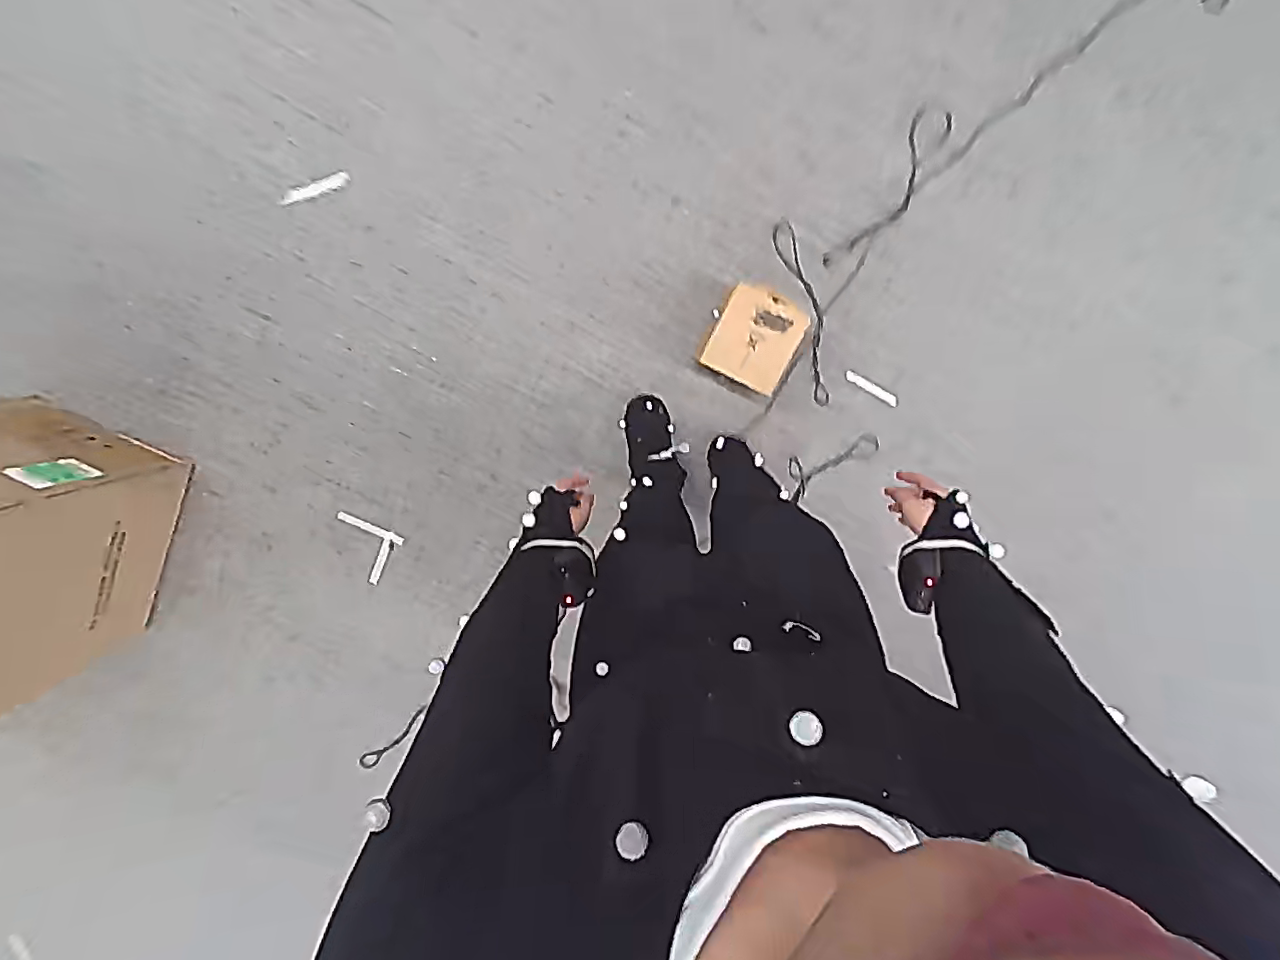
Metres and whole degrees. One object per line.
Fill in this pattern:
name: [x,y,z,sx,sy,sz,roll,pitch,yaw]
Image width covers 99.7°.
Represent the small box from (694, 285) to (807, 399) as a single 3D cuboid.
small box: [0.226,-0.296,1.168,0.168,0.176,0.179,26,104,-5]
